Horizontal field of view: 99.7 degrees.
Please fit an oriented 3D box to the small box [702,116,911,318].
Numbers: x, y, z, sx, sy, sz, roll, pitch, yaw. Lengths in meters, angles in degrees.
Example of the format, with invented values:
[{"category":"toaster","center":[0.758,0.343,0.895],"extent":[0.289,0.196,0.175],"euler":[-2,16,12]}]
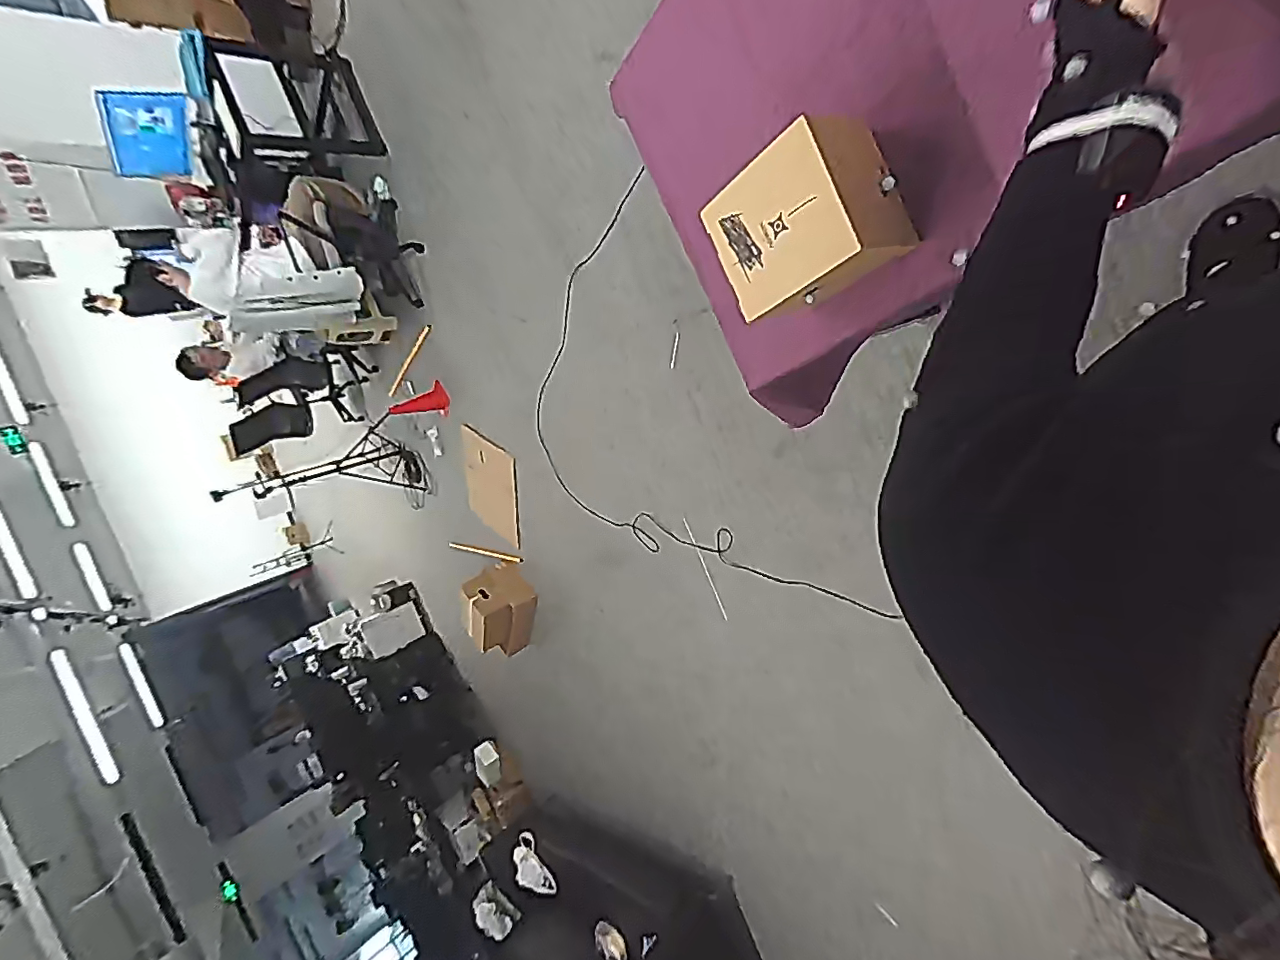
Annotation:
[{"category":"small box","center":[0.220,-0.336,0.719],"extent":[0.179,0.176,0.168],"euler":[-23,90,51]}]
